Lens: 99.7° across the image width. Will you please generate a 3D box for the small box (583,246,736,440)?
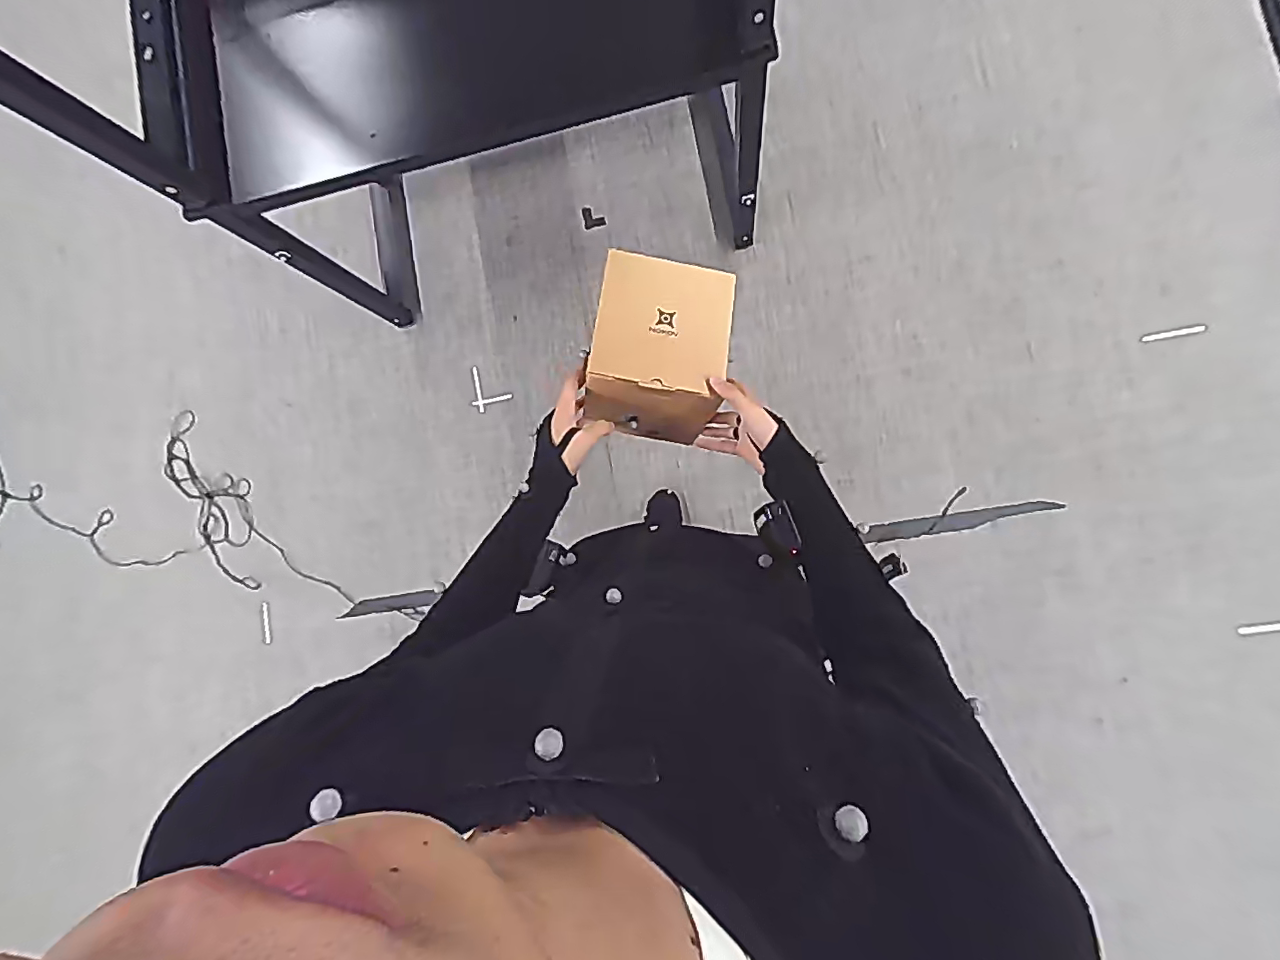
[{"bbox_3d":[0.018,-0.172,0.725,0.168,0.176,0.179,10,74,-6],"label":"small box"}]
